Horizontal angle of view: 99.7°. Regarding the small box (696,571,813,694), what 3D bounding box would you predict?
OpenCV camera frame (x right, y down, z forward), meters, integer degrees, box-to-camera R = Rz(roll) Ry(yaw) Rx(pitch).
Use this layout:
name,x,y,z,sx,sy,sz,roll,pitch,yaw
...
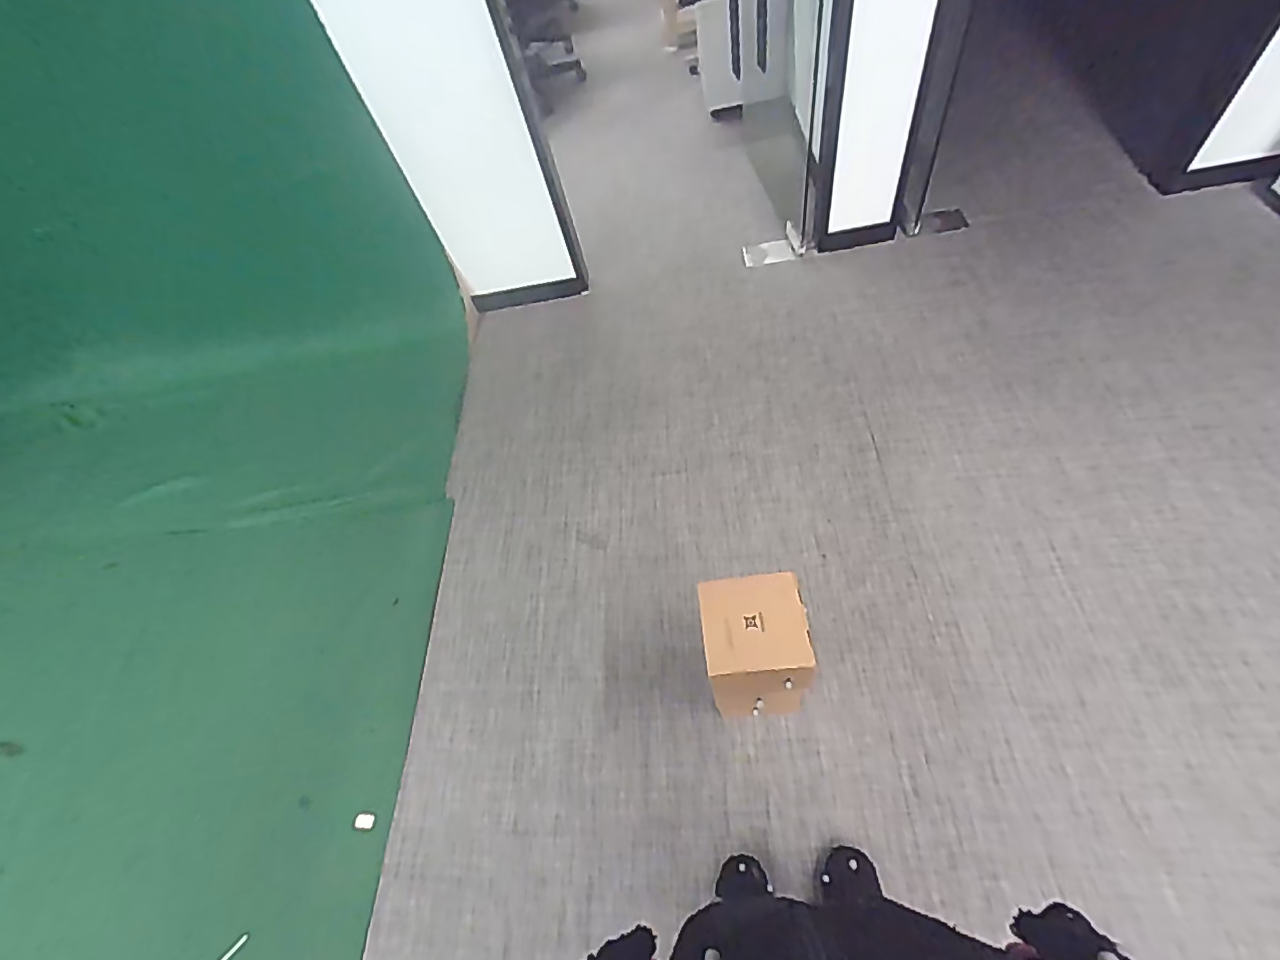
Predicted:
name,x,y,z,sx,sy,sz,roll,pitch,yaw
small box,0.204,0.282,0.983,0.179,0.176,0.168,-9,55,8

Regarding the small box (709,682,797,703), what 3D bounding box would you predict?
name,x,y,z,sx,sy,sz,roll,pitch,yaw
small box,0.227,0.358,1.126,0.179,0.176,0.168,-9,57,7

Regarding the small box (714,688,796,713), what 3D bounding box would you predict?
name,x,y,z,sx,sy,sz,roll,pitch,yaw
small box,0.259,0.442,1.263,0.179,0.176,0.168,-7,56,9
